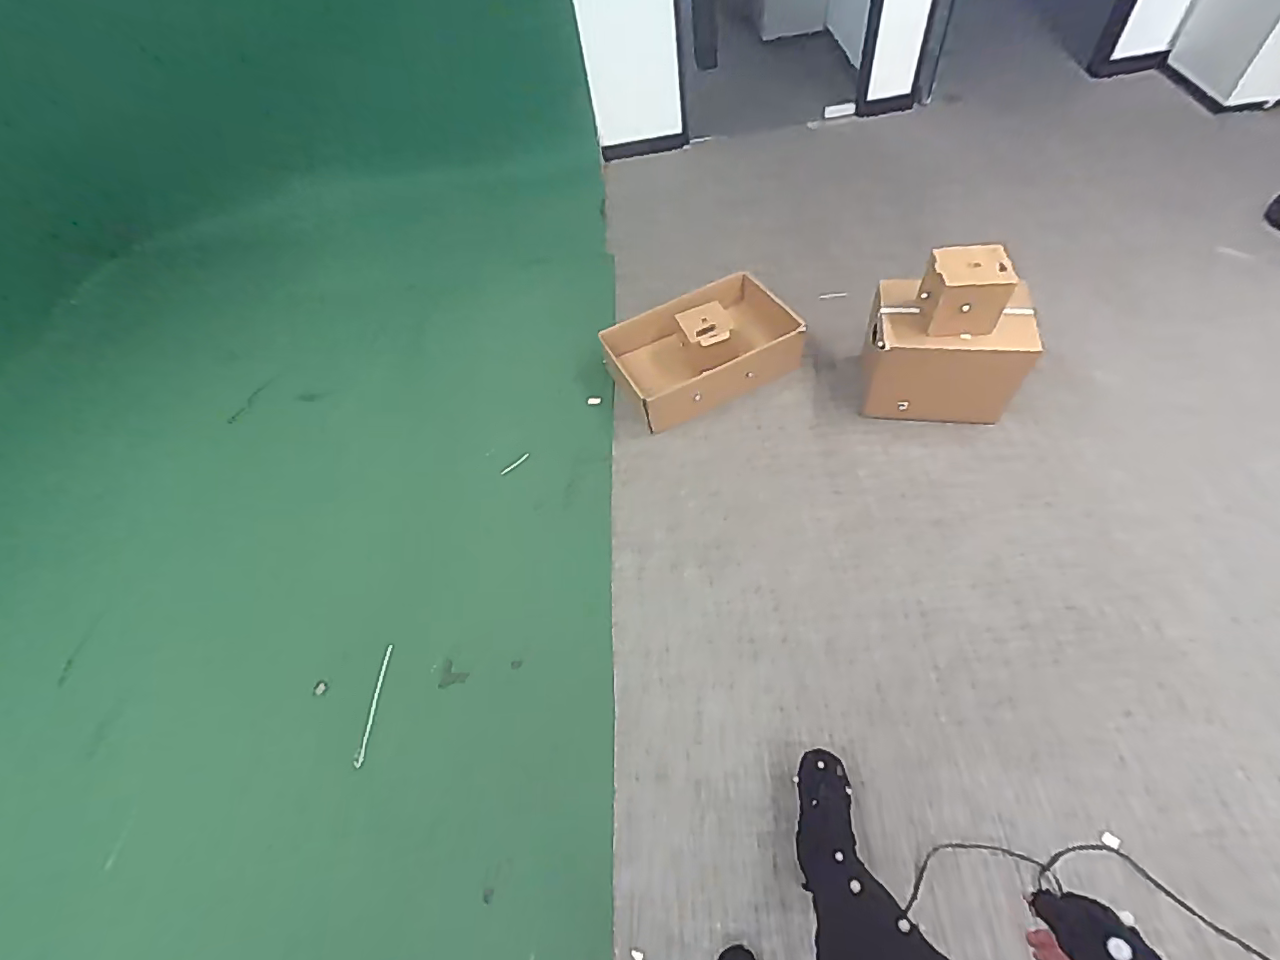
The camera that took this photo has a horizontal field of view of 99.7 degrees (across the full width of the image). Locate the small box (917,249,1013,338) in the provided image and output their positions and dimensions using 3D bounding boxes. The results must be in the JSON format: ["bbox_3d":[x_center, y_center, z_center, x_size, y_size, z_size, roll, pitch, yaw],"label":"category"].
[{"bbox_3d":[0.884,-0.510,1.494,0.179,0.176,0.168,-1,56,10],"label":"small box"}]

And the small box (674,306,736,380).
[{"bbox_3d":[0.235,-0.475,1.912,0.168,0.176,0.179,-20,52,-3],"label":"small box"}]
